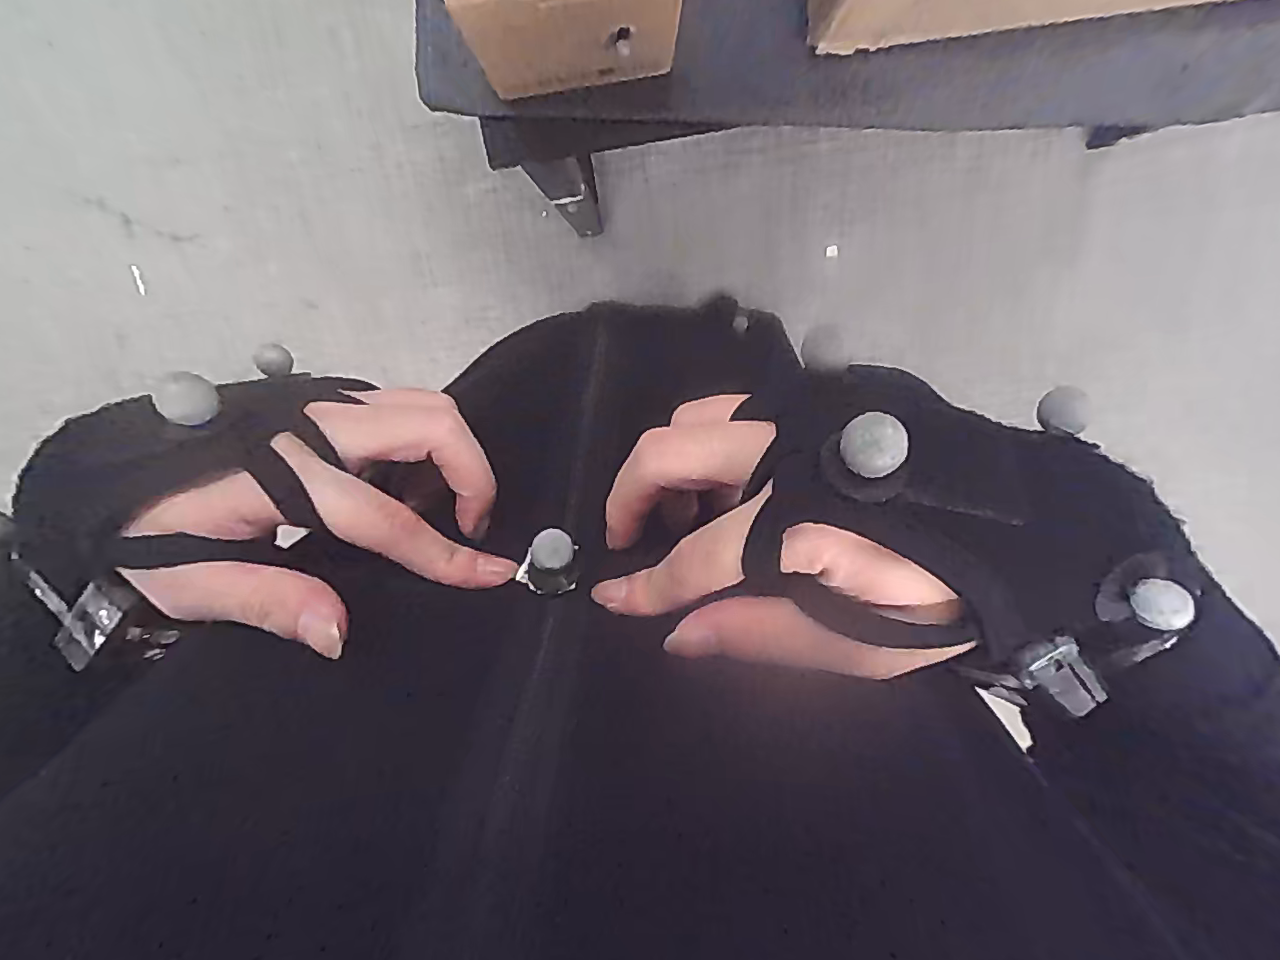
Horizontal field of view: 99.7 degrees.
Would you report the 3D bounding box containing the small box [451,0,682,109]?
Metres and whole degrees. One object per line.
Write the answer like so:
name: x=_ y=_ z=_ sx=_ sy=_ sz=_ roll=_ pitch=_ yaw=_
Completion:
small box: x=-0.062 y=-0.427 z=0.432 sx=0.168 sy=0.176 sz=0.179 roll=-9 pitch=105 yaw=0
